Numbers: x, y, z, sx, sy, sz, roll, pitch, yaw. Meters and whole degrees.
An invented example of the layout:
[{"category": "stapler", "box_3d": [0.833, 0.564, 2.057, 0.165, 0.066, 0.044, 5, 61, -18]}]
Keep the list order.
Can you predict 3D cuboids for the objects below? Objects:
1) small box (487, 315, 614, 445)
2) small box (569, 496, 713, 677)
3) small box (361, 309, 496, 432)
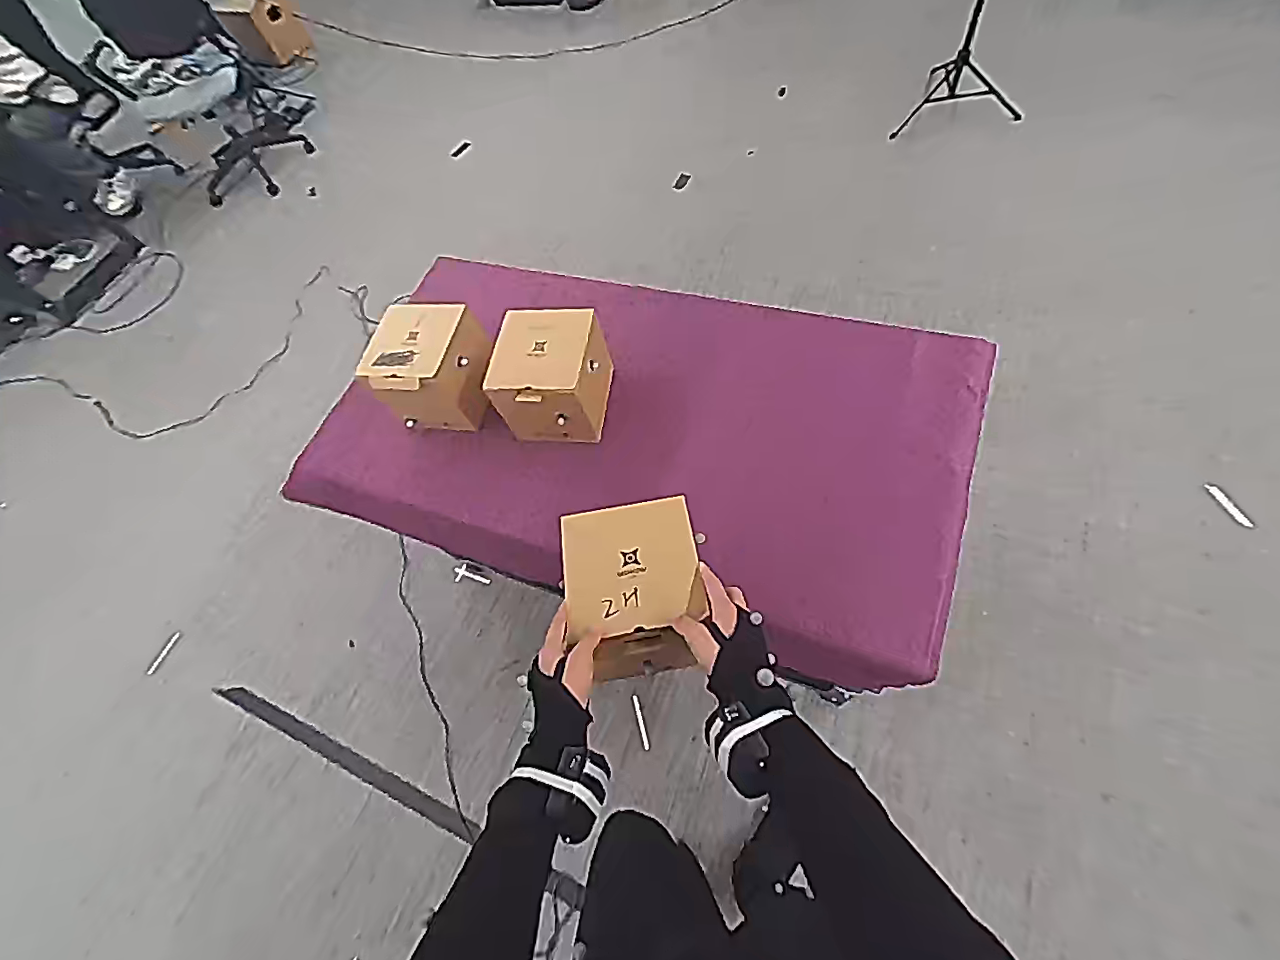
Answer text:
[{"category": "small box", "box_3d": [-0.152, -0.179, 0.992, 0.168, 0.176, 0.179, 3, 63, 12]}, {"category": "small box", "box_3d": [0.001, 0.146, 0.729, 0.168, 0.176, 0.179, -9, 55, 1]}, {"category": "small box", "box_3d": [-0.394, -0.209, 1.054, 0.168, 0.176, 0.179, 5, 63, 13]}]
